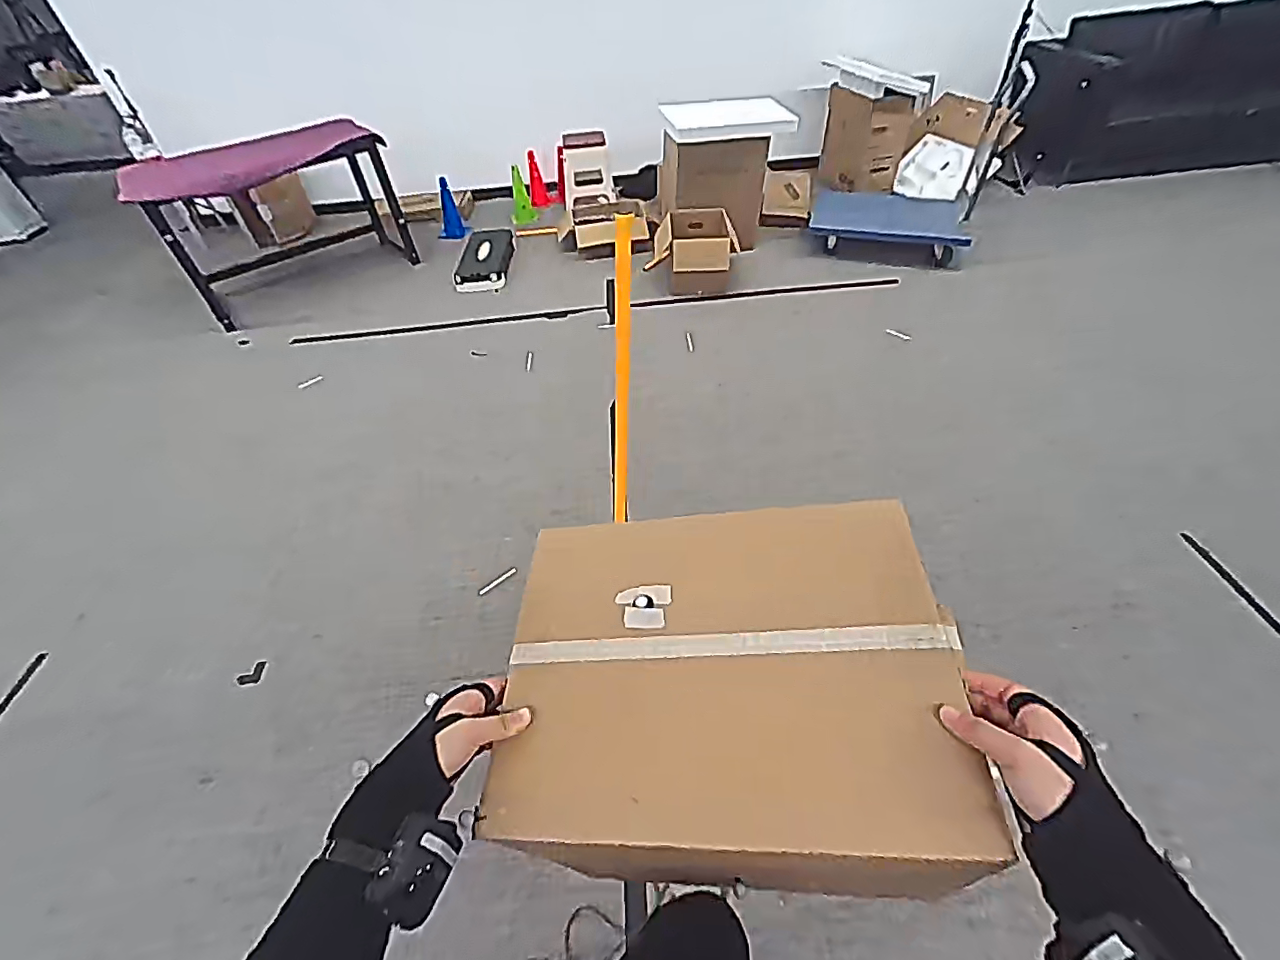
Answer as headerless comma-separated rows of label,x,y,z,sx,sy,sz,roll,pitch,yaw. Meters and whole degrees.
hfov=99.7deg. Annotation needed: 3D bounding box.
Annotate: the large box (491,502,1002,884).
large box,0.109,0.259,0.622,0.408,0.320,0.320,-8,47,13
